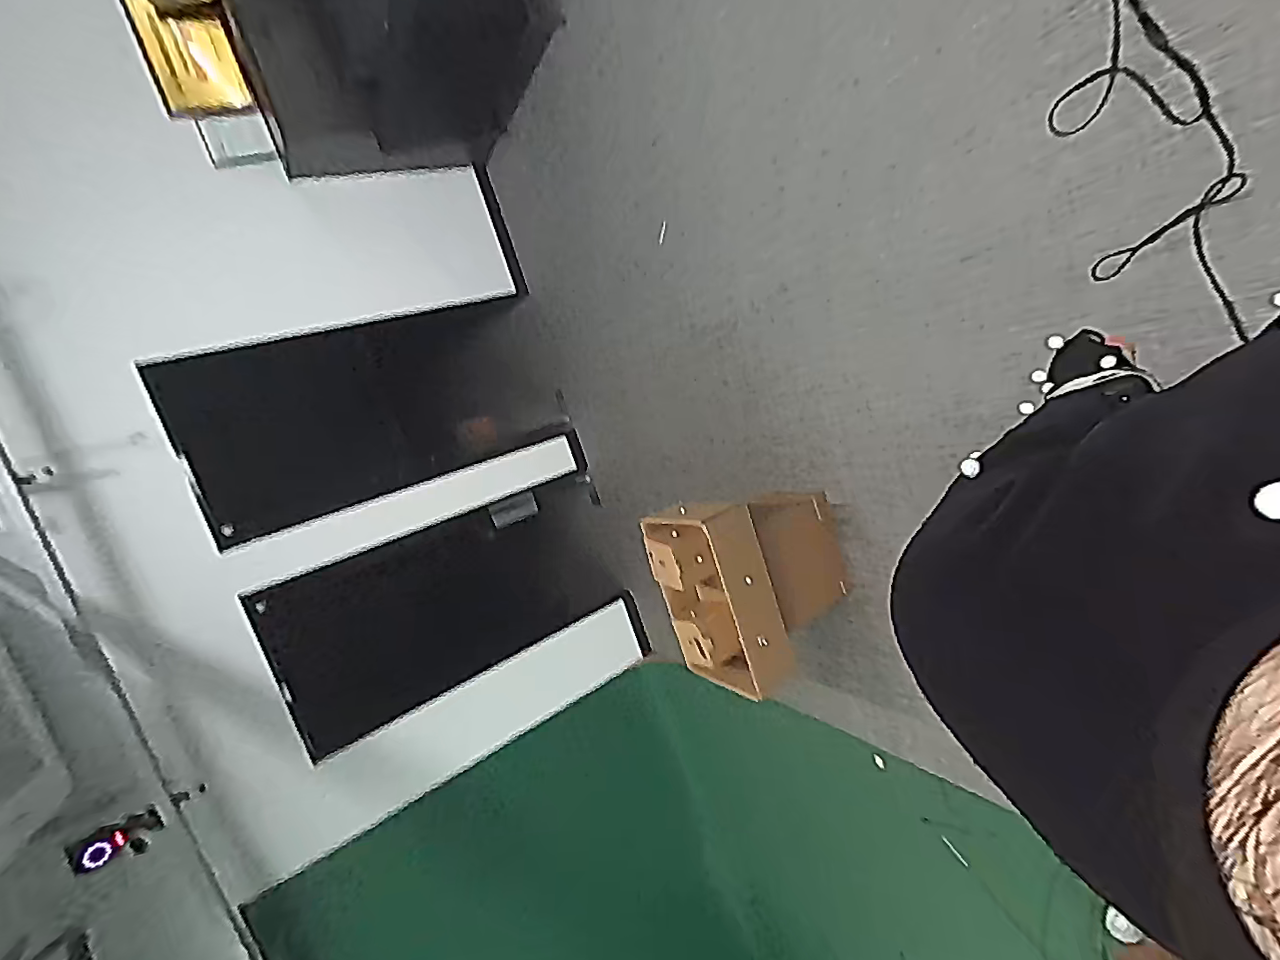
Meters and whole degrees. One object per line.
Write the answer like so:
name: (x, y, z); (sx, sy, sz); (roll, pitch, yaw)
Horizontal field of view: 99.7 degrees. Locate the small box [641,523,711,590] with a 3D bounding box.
small box: (0.135, 0.261, 1.906); (0.179, 0.176, 0.168); (8, 115, 56)
